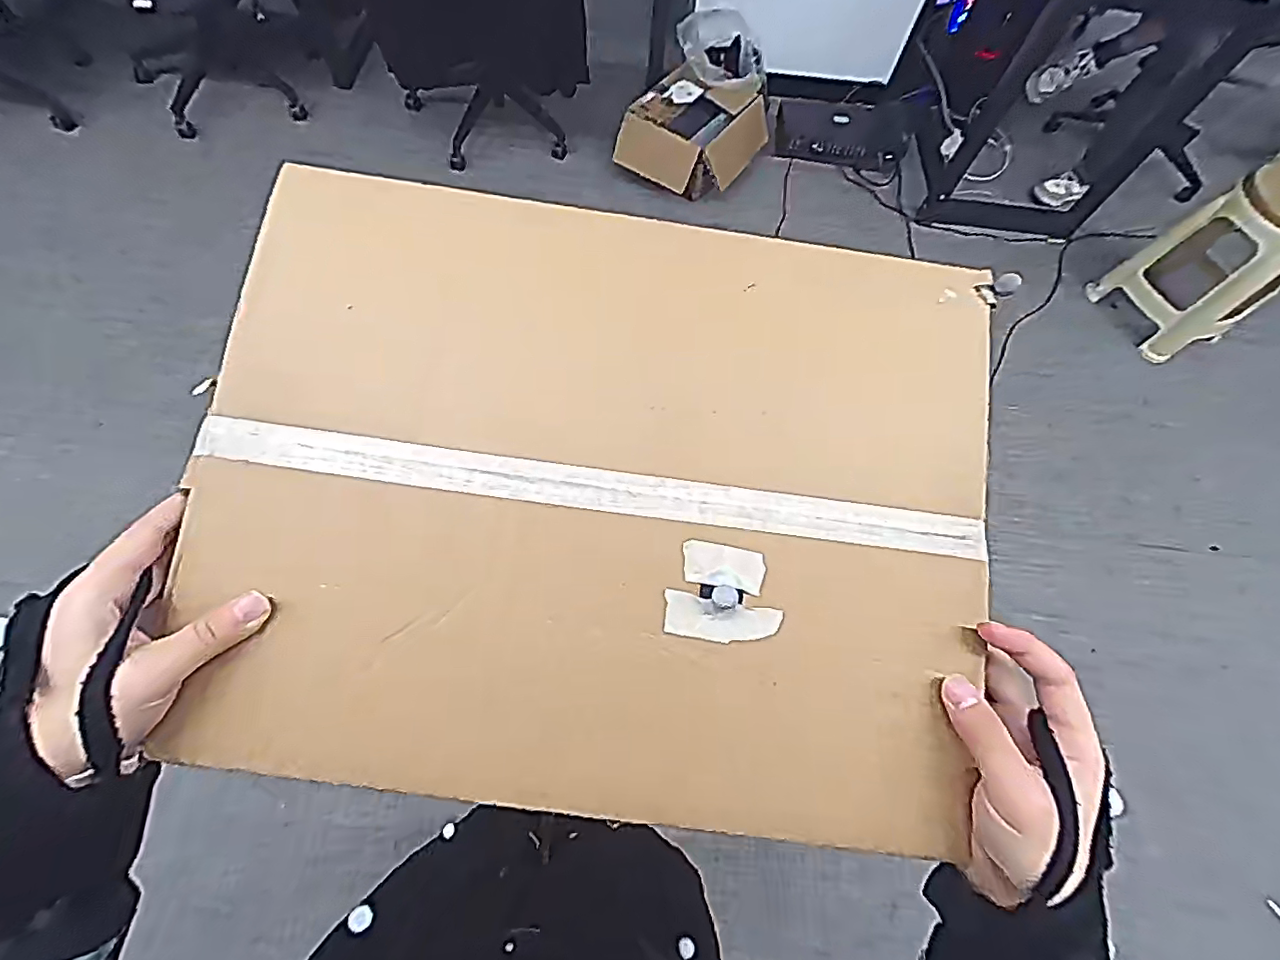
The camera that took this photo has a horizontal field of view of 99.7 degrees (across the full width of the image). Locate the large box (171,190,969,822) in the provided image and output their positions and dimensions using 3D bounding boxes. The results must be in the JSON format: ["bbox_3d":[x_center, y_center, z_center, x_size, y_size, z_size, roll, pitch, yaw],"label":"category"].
[{"bbox_3d":[-0.026,0.027,0.442,0.408,0.320,0.320,8,81,-1],"label":"large box"}]
